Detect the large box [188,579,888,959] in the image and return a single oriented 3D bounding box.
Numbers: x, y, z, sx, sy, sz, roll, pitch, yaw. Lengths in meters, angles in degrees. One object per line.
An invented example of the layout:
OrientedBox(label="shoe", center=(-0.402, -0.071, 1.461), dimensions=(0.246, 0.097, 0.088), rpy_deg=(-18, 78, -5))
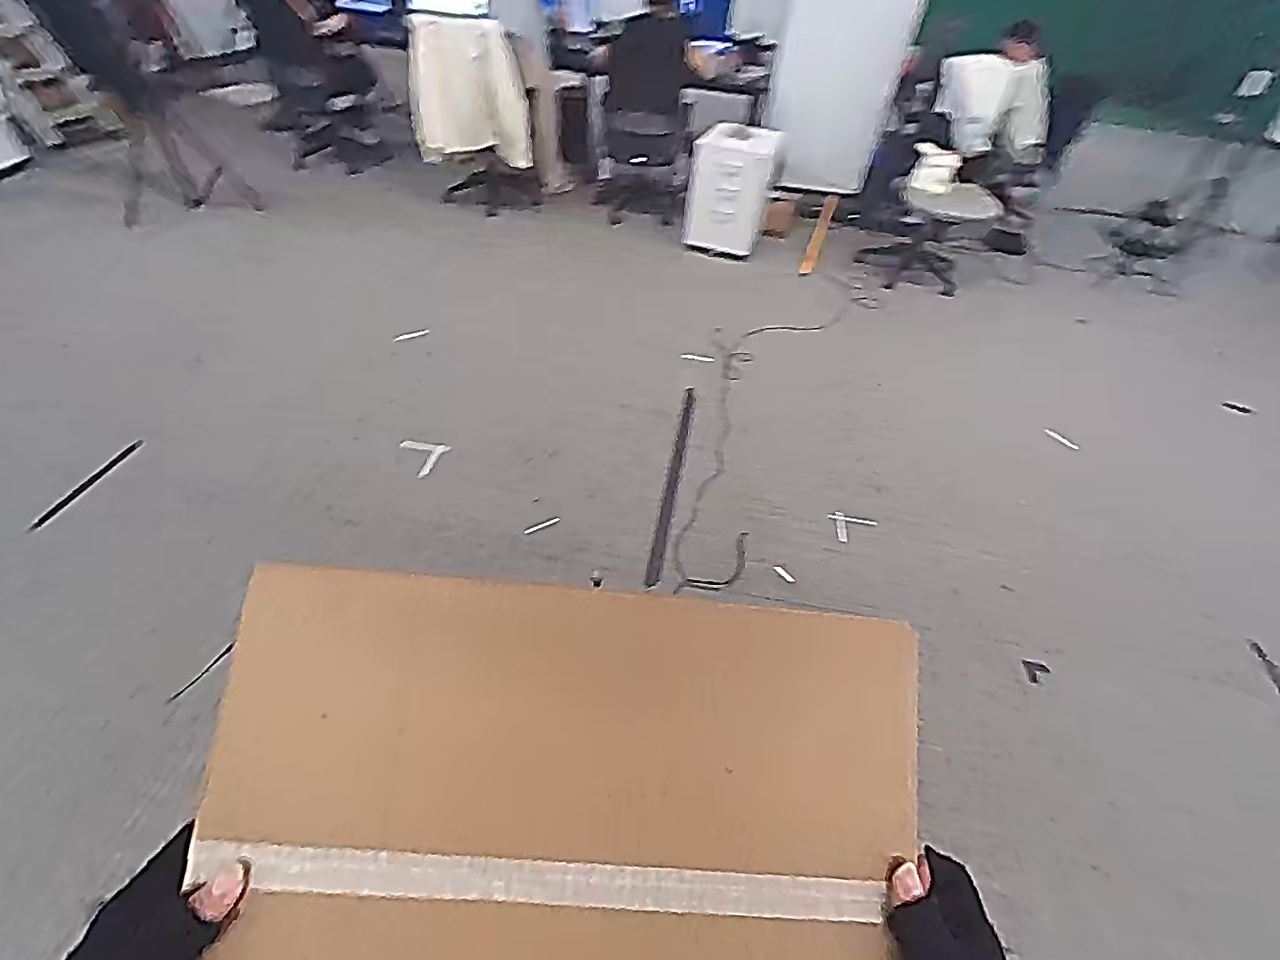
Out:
OrientedBox(label="large box", center=(-0.056, 0.255, 0.465), dimensions=(0.408, 0.320, 0.320), rpy_deg=(5, 79, -4))
